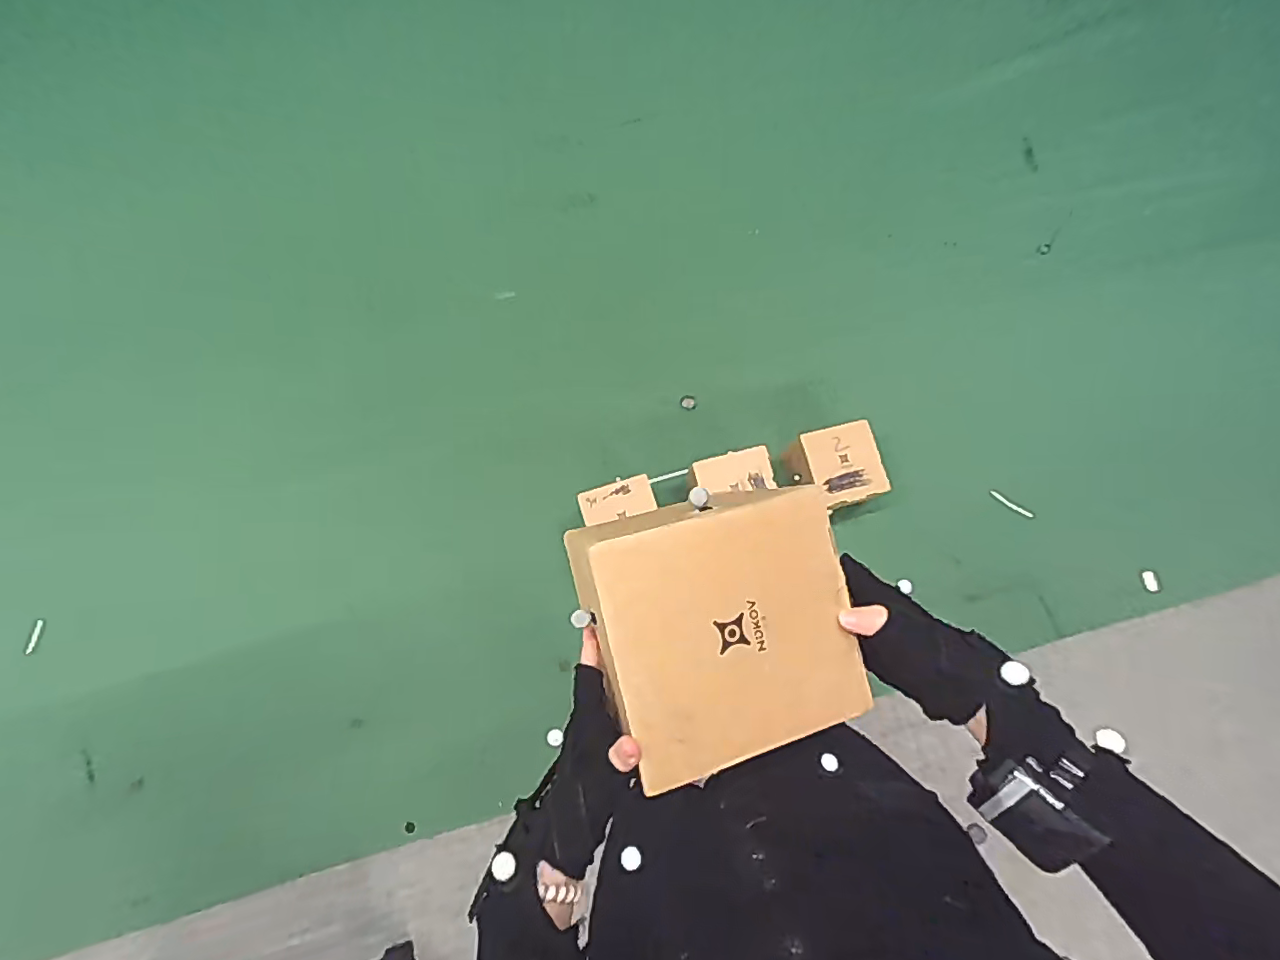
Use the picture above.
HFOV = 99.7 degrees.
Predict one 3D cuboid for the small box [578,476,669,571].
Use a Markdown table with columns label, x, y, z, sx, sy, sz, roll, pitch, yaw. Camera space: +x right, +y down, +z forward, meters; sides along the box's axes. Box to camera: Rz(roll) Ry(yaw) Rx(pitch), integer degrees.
| label | x | y | z | sx | sy | sz | roll | pitch | yaw |
| --- | --- | --- | --- | --- | --- | --- | --- | --- | --- |
| small box | -0.036 | 0.105 | 1.264 | 0.168 | 0.176 | 0.179 | -17 | 81 | -3 |
